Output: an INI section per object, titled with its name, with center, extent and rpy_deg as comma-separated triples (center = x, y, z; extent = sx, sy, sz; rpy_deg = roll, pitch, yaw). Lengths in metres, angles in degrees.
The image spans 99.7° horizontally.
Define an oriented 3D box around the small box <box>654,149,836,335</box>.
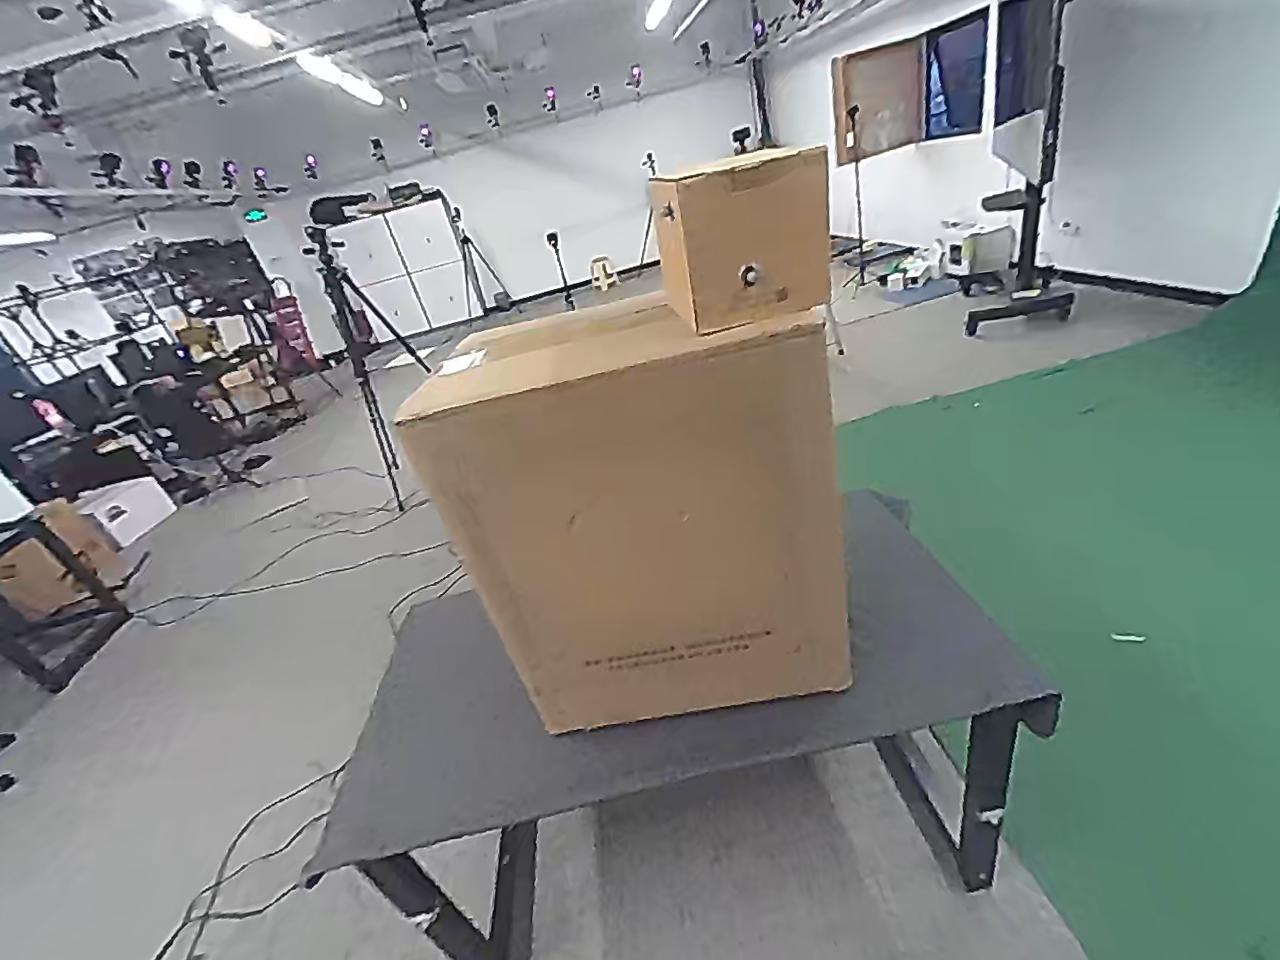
[small box]
center = 0.122, -0.291, 0.662
extent = 0.168, 0.176, 0.179
rpy_deg = -14, 32, -3
